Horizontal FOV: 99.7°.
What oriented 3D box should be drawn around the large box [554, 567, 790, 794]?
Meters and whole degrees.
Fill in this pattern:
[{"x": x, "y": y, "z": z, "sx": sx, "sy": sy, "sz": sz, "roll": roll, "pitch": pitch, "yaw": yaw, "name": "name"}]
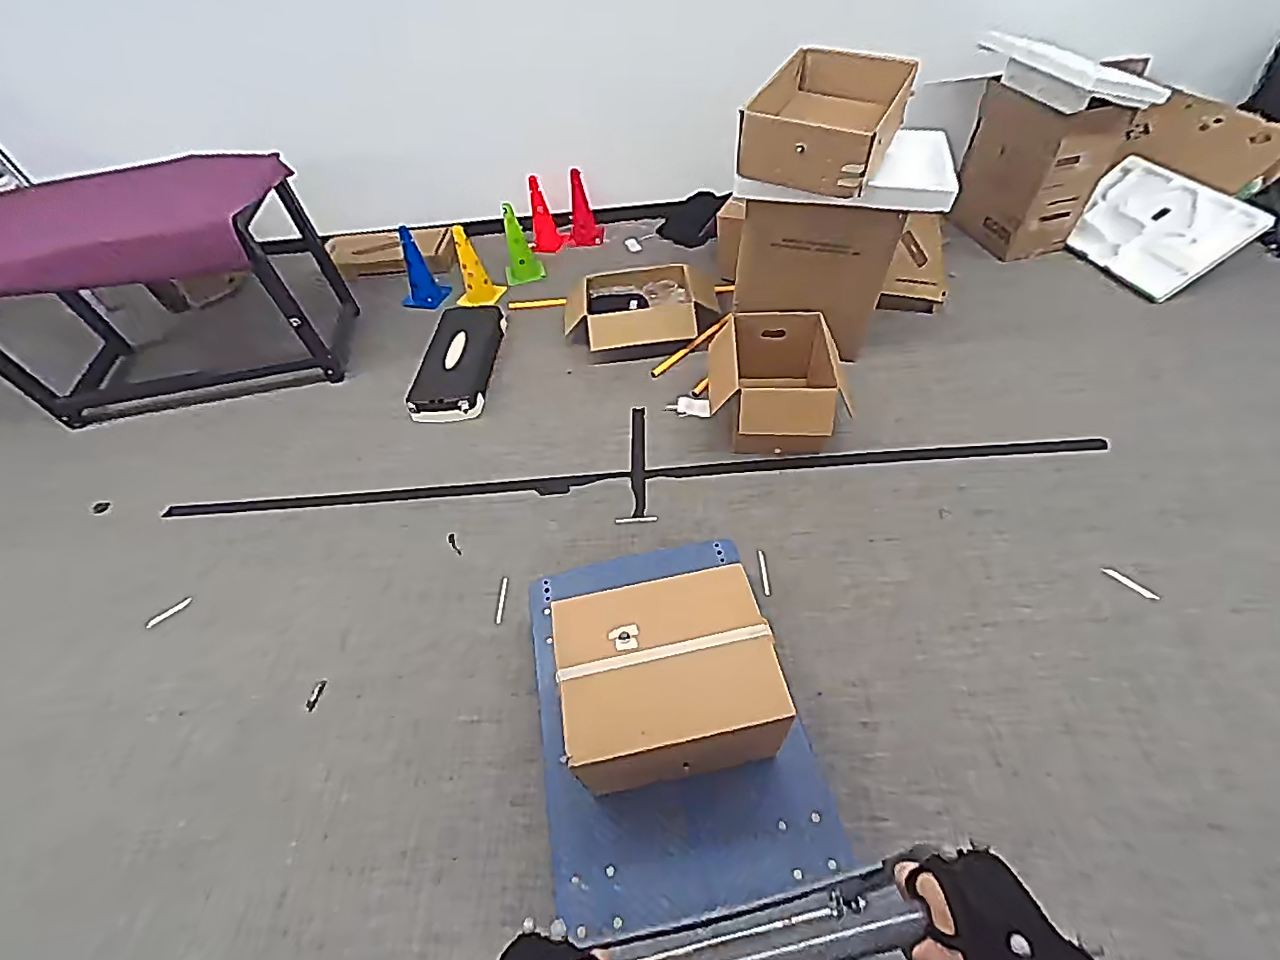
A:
[{"x": 0.059, "y": 0.432, "z": 1.152, "sx": 0.408, "sy": 0.320, "sz": 0.320, "roll": -12, "pitch": 50, "yaw": -3, "name": "large box"}]
